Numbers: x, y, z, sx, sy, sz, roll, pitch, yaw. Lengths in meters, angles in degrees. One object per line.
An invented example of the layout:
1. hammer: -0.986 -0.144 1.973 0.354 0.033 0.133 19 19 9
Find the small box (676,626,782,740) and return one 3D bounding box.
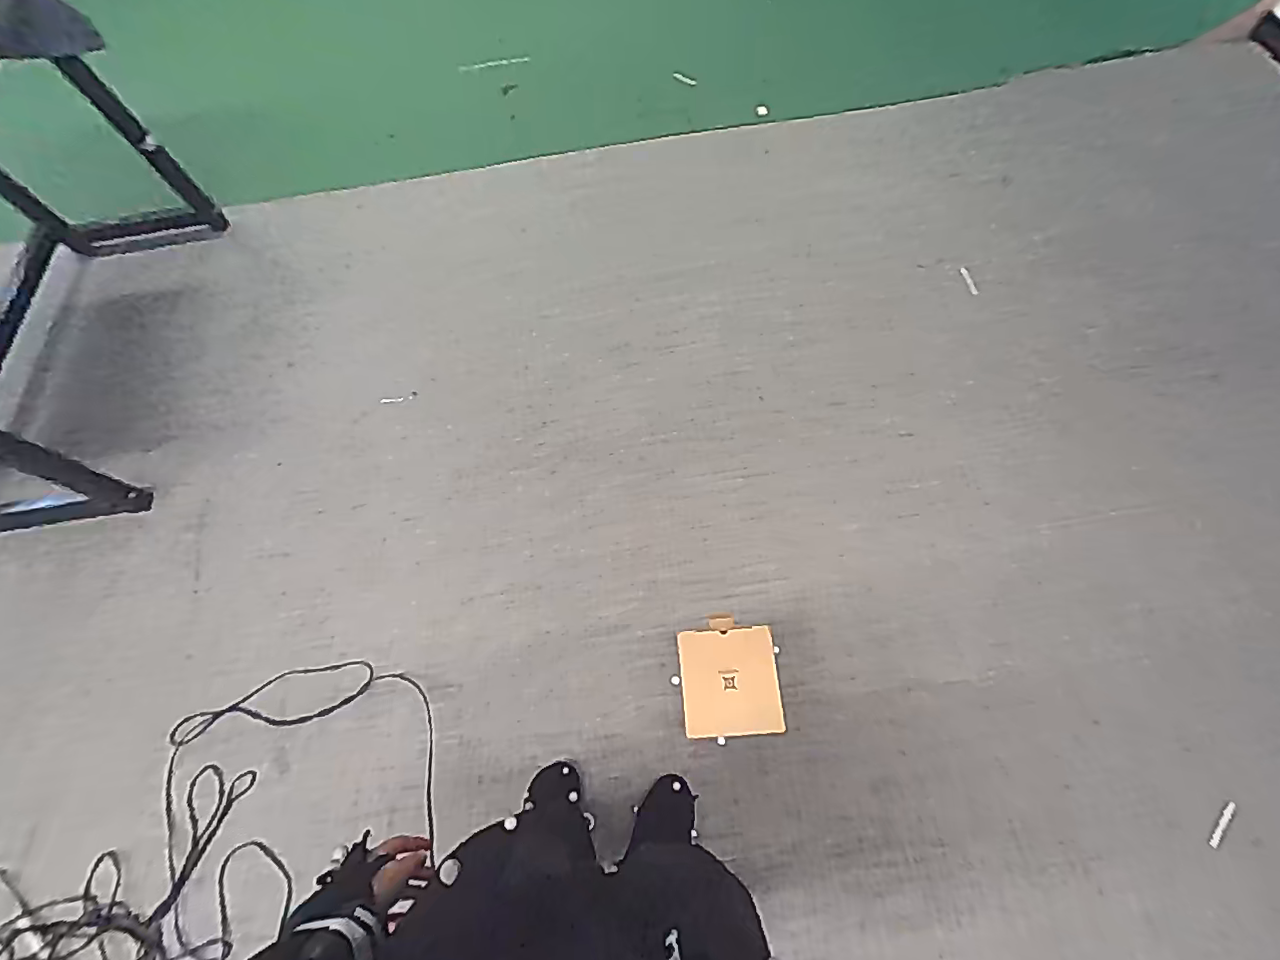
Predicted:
1. small box: 0.157 0.376 0.996 0.168 0.176 0.179 -5 65 3
